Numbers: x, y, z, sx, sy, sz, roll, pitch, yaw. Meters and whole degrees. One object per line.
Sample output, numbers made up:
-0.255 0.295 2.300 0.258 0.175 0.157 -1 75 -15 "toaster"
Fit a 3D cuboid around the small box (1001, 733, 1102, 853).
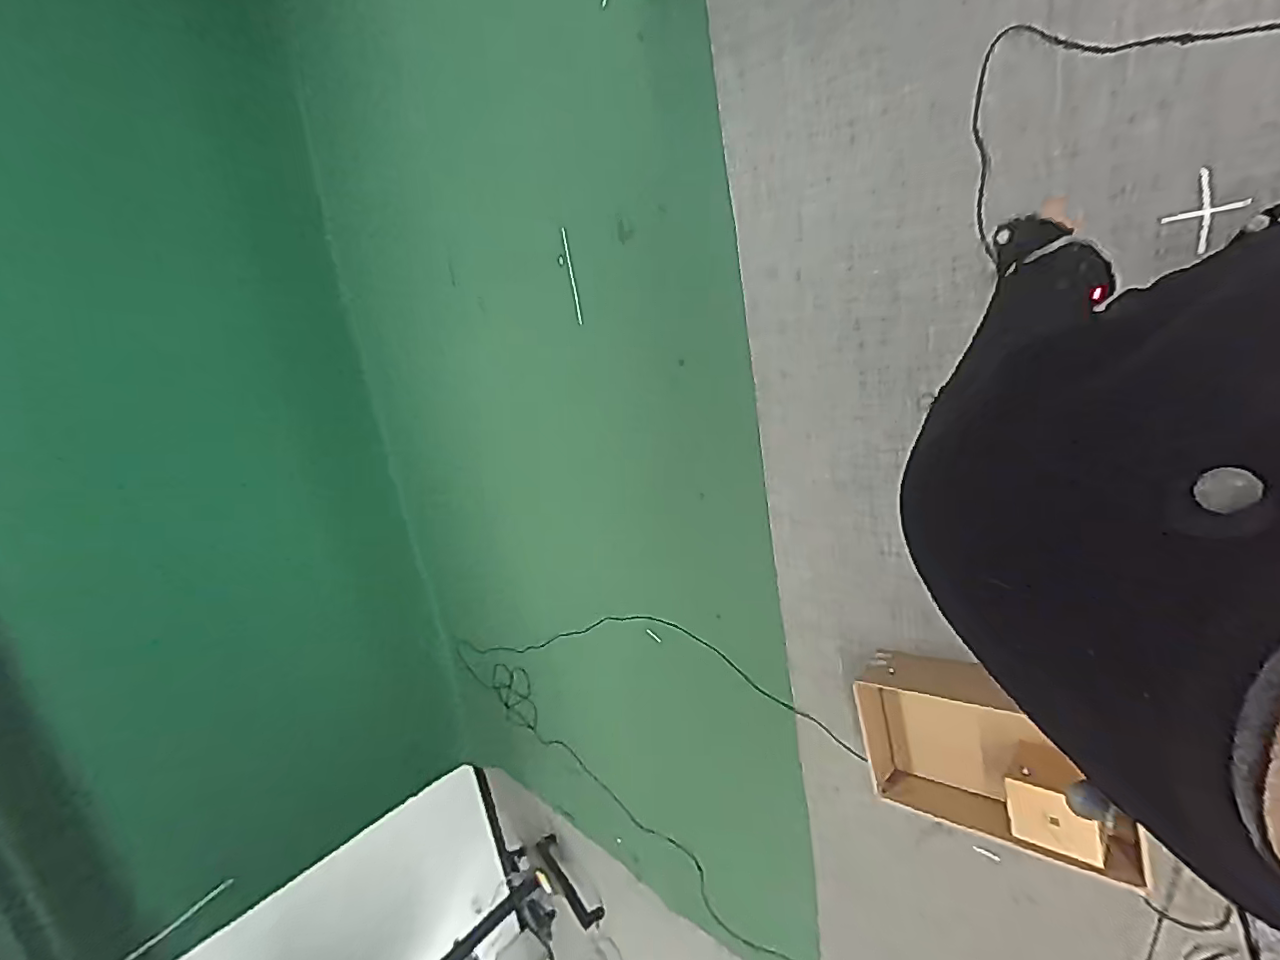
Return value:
1.025 0.762 1.341 0.179 0.176 0.168 -4 102 47 "small box"
